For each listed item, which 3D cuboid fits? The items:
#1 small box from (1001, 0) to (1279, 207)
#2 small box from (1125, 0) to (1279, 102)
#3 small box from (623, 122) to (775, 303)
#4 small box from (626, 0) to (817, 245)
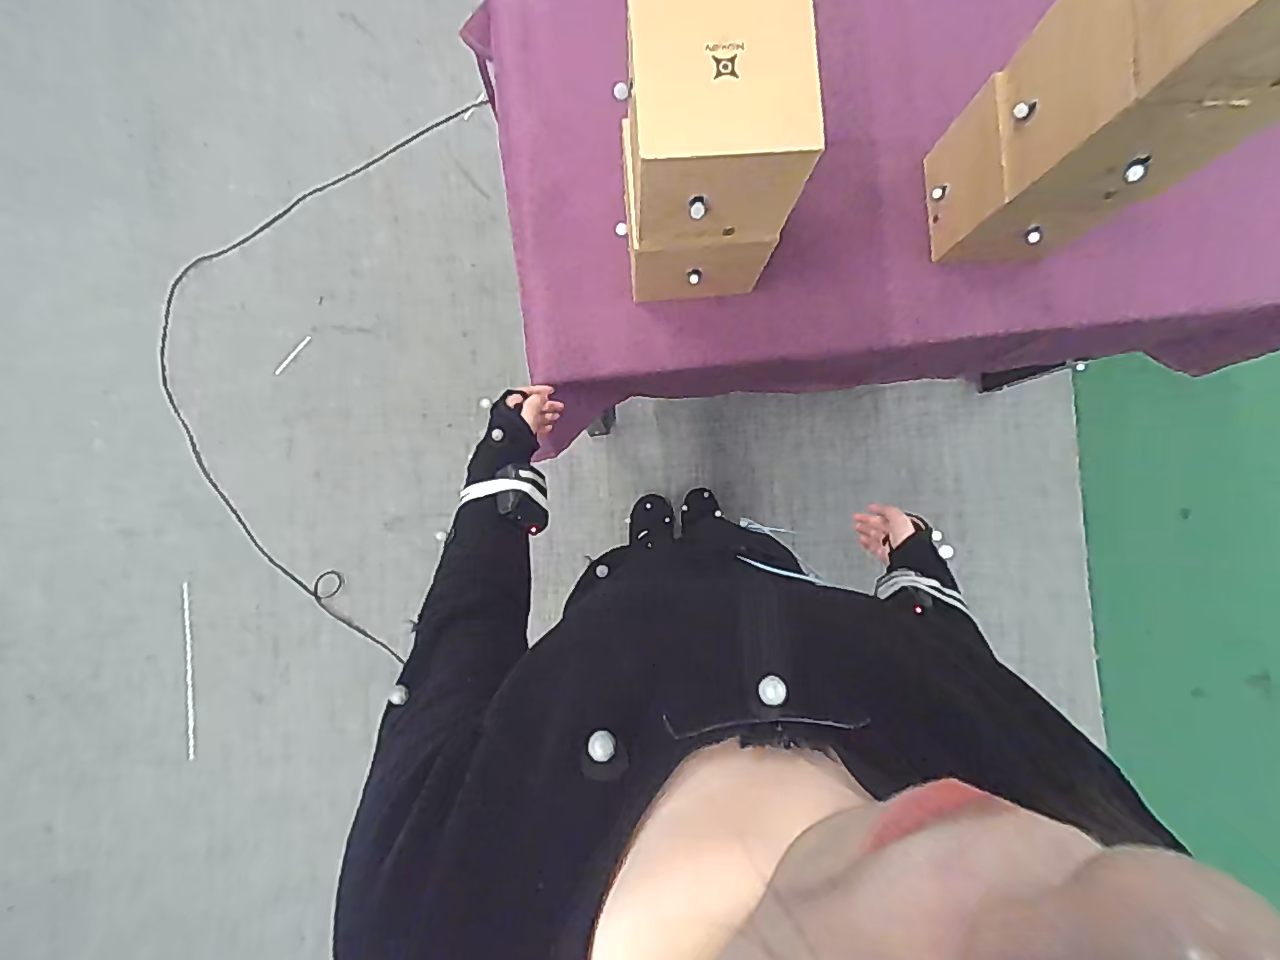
[{"bbox_3d":[0.515,-0.412,0.570,0.168,0.176,0.179,0,88,0],"label":"small box"},{"bbox_3d":[0.514,-0.420,0.404,0.168,0.176,0.179,-1,86,0],"label":"small box"},{"bbox_3d":[0.070,-0.351,0.727,0.179,0.176,0.168,-5,87,0],"label":"small box"},{"bbox_3d":[0.073,-0.363,0.564,0.168,0.176,0.179,-3,86,-1],"label":"small box"}]
